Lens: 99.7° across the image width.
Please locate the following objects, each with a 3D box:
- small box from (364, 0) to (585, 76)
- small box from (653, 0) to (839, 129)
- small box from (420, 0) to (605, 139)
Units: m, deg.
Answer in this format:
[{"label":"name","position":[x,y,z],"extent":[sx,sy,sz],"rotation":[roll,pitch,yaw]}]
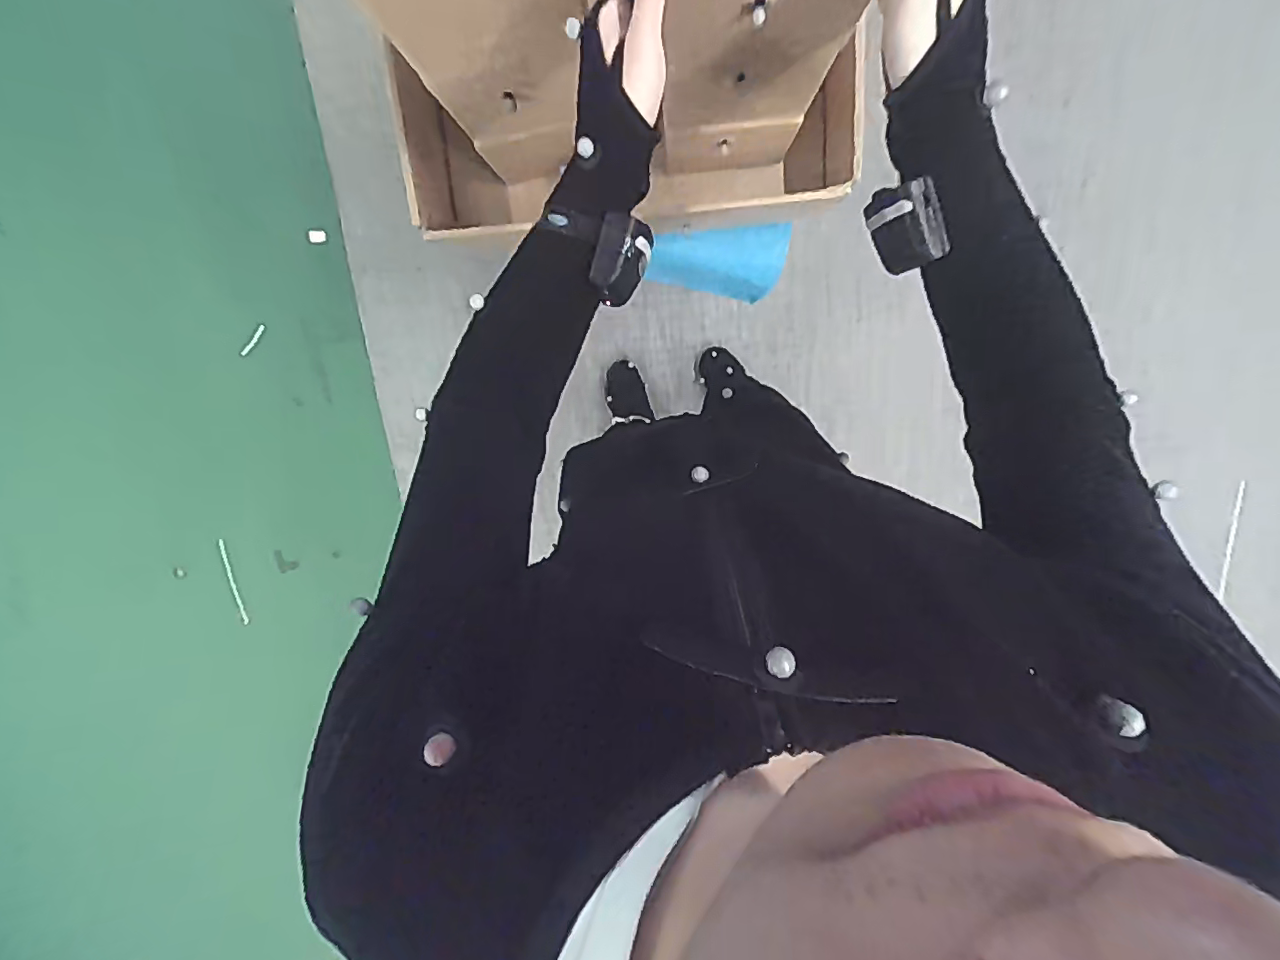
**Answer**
[{"label":"small box","position":[-0.151,-0.467,0.437],"extent":[0.179,0.176,0.168],"rotation":[-10,103,2]},{"label":"small box","position":[0.105,-0.503,0.581],"extent":[0.179,0.176,0.168],"rotation":[-3,104,5]},{"label":"small box","position":[-0.143,-0.505,0.596],"extent":[0.179,0.176,0.168],"rotation":[-9,104,3]}]
